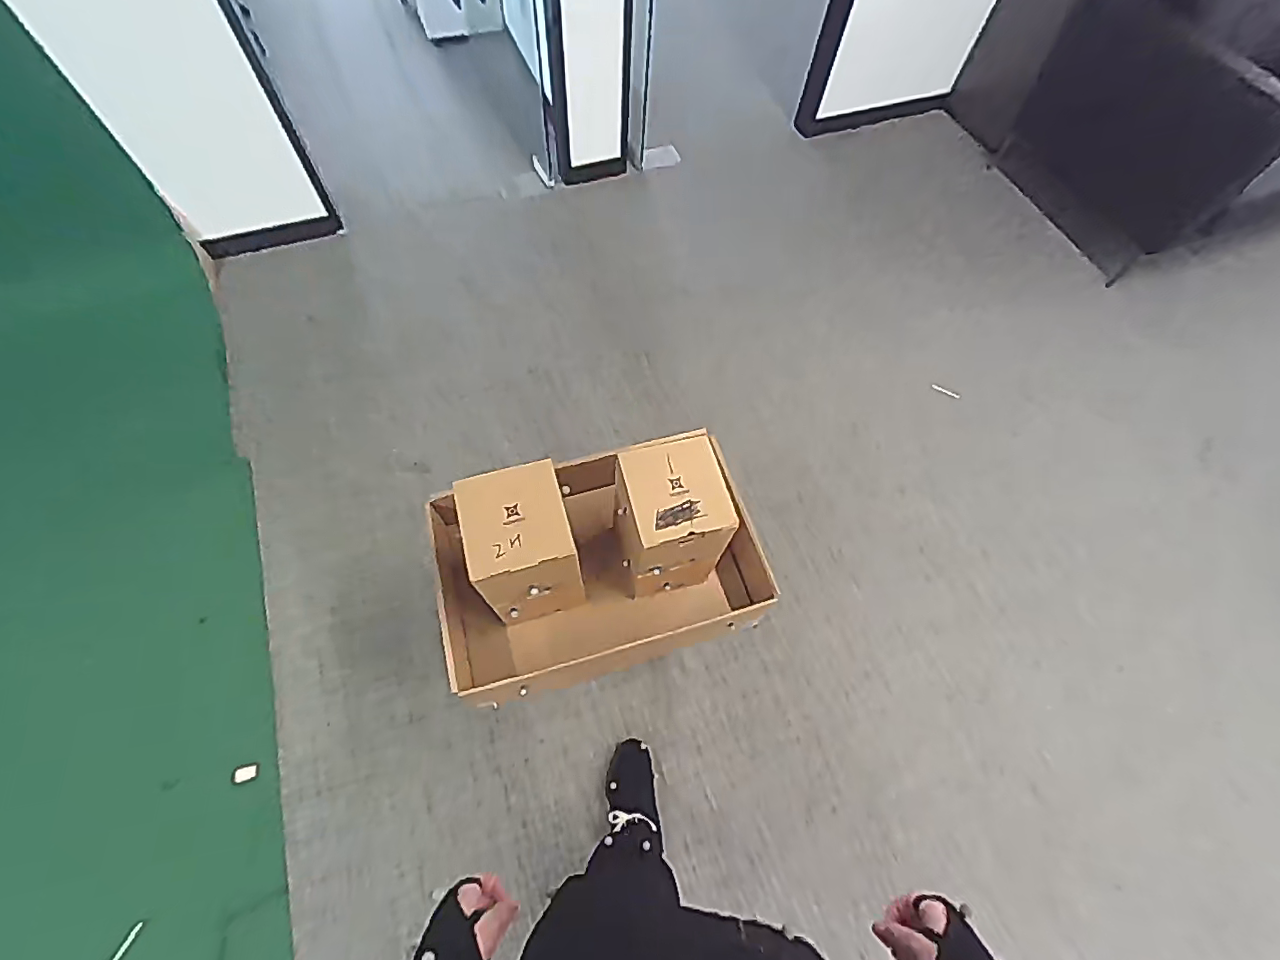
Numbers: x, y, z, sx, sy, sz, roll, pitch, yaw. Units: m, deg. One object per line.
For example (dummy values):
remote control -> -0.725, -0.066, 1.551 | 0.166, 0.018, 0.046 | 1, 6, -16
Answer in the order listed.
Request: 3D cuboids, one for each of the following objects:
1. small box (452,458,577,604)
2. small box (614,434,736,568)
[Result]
small box -> -0.208, 0.090, 0.919 | 0.168, 0.176, 0.179 | -14, 65, -10
small box -> 0.053, 0.046, 0.958 | 0.168, 0.176, 0.179 | -12, 65, -9
